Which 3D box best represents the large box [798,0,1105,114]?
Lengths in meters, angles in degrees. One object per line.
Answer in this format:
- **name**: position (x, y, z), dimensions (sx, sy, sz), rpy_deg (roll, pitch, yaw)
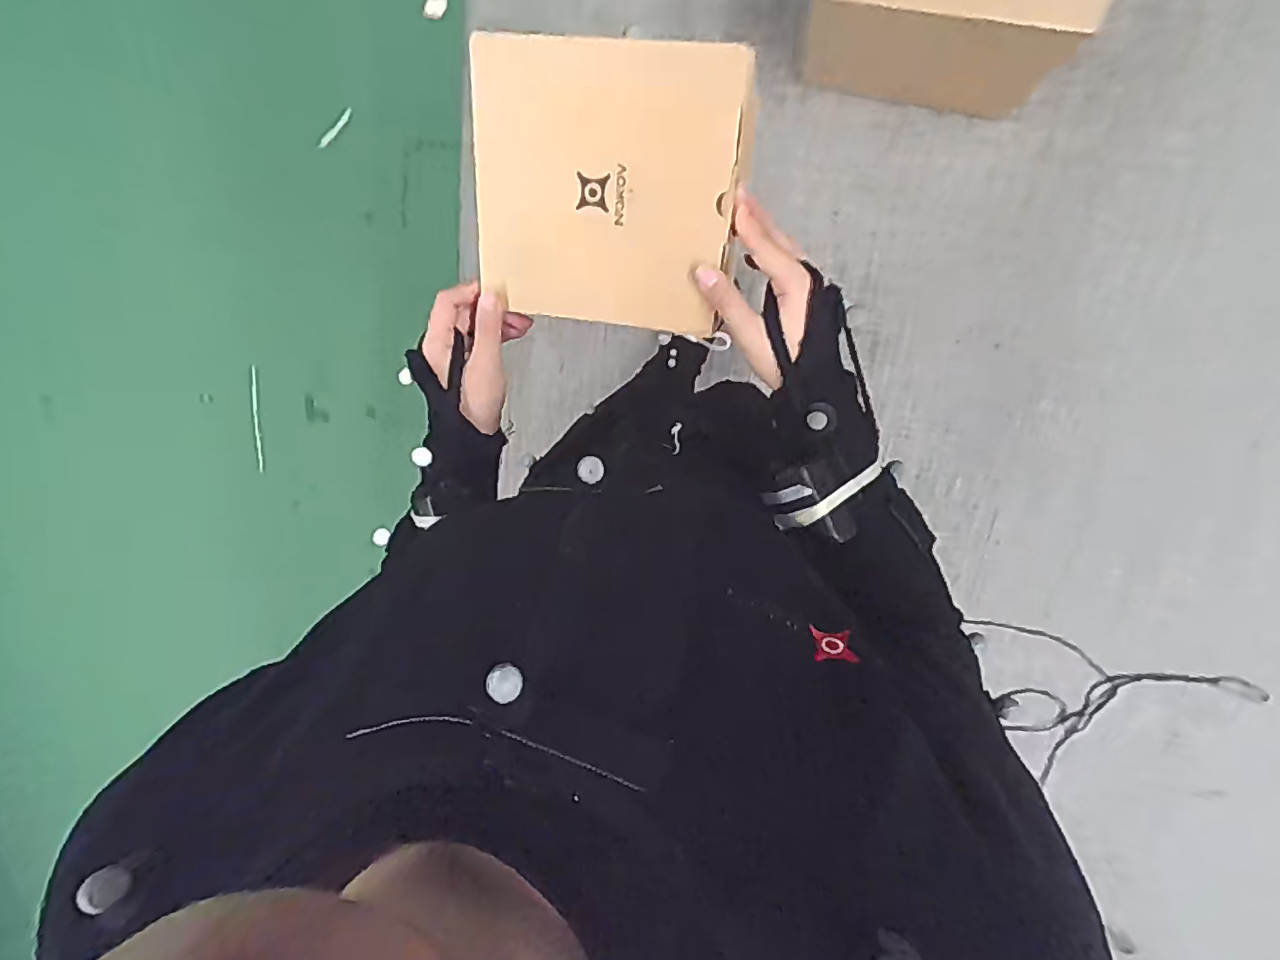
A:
- **large box**: position (0.507, -0.857, 0.889), dimensions (0.408, 0.320, 0.320), rpy_deg (15, 107, 8)
